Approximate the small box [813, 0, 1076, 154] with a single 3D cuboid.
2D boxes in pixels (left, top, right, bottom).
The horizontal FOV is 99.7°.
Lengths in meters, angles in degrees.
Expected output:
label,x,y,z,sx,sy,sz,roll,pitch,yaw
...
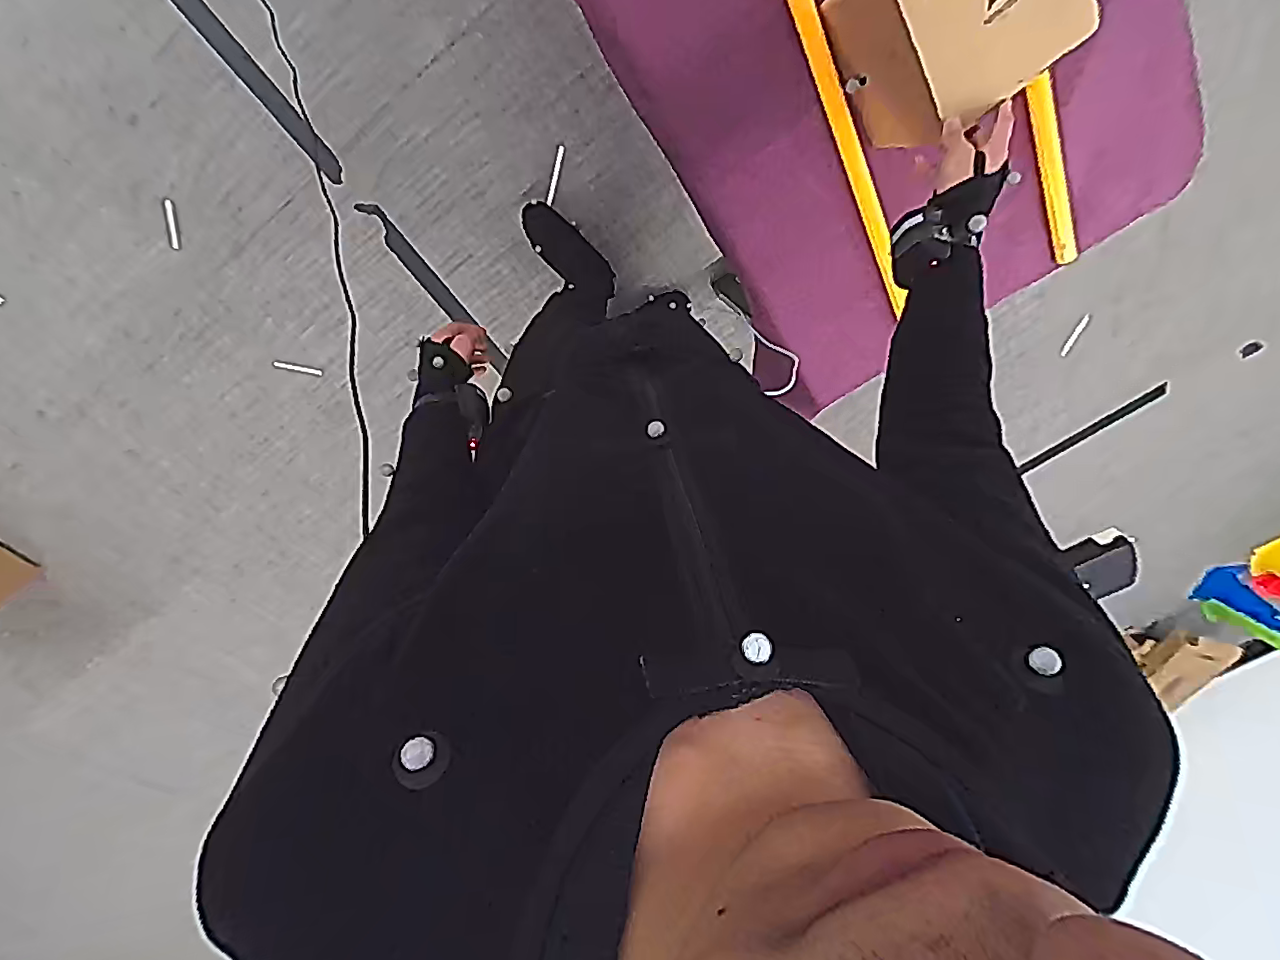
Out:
label,x,y,z,sx,sy,sz,roll,pitch,yaw
small box,0.326,-0.501,0.601,0.168,0.176,0.179,-35,120,13
